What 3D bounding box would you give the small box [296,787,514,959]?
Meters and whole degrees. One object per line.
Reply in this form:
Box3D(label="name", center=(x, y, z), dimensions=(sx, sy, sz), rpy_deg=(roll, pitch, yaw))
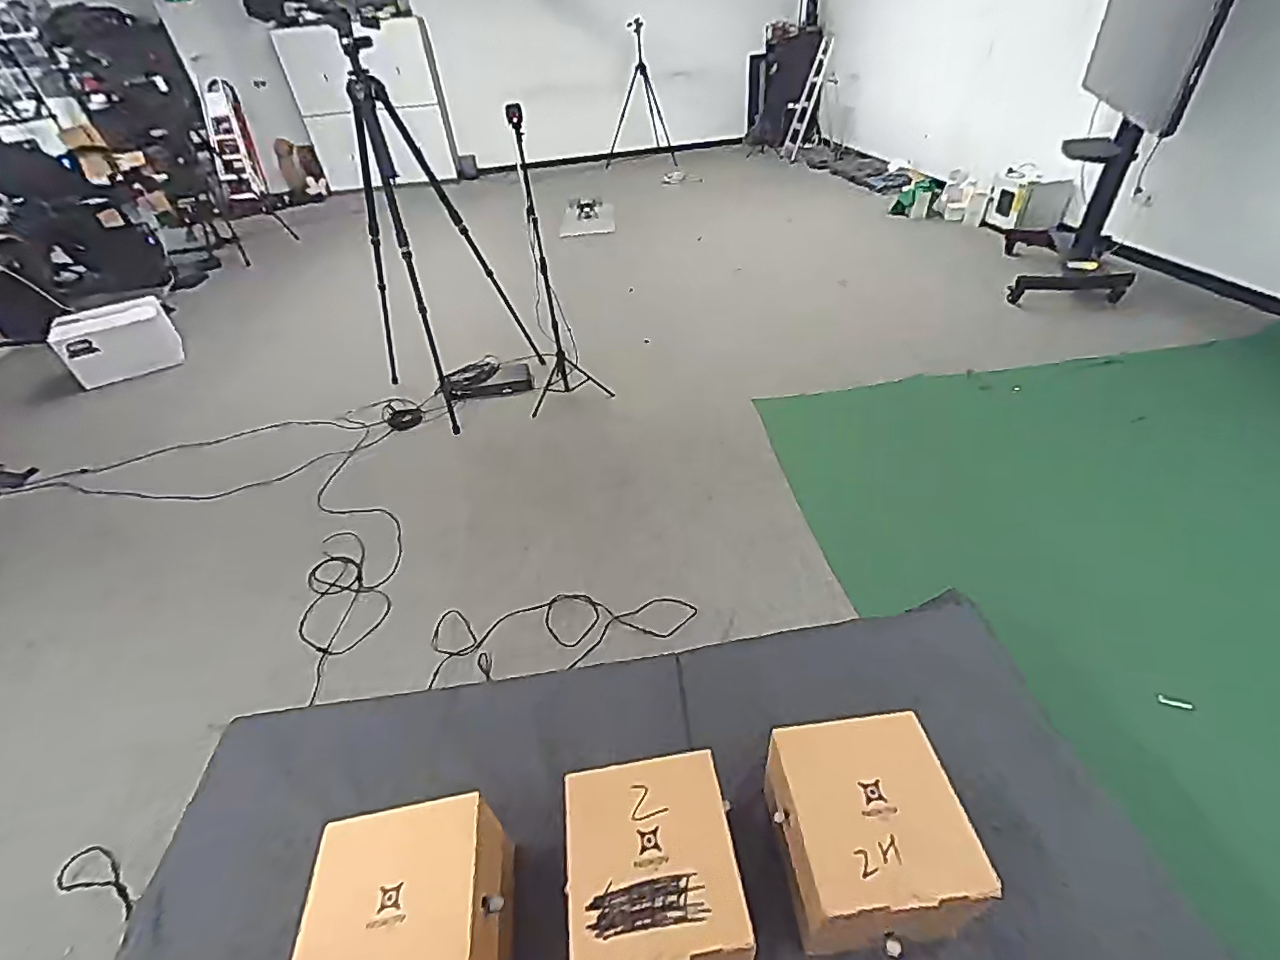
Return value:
Box3D(label="small box", center=(-0.237, 0.470, 0.584), dimensions=(0.168, 0.176, 0.179), rpy_deg=(-9, 40, -4))
